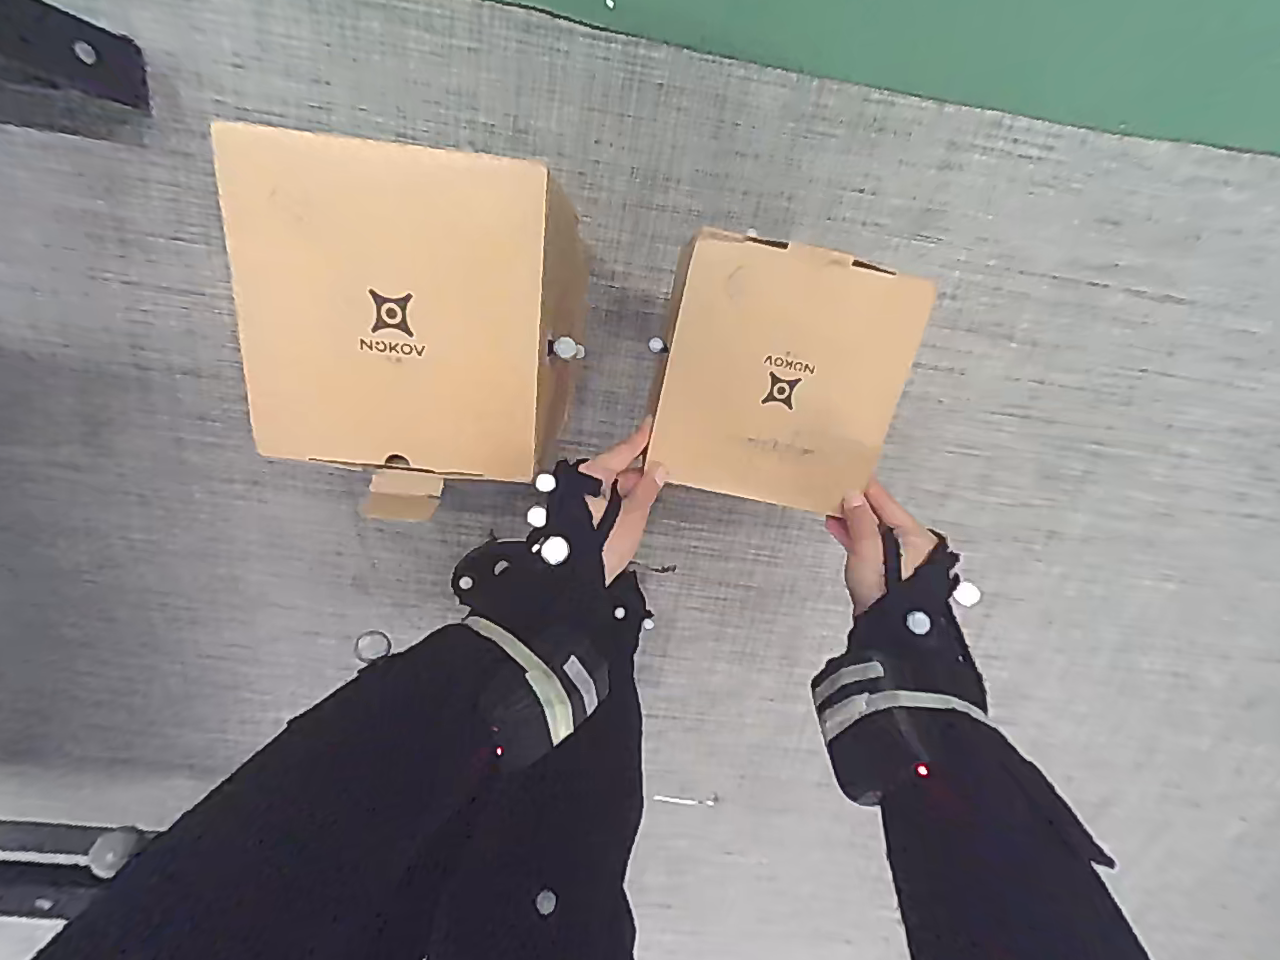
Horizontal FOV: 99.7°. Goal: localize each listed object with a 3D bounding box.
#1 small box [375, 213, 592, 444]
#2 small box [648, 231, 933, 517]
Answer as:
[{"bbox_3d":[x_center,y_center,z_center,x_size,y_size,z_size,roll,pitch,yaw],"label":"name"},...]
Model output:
[{"bbox_3d":[-0.141,-0.151,0.537,0.168,0.176,0.179,7,110,-3],"label":"small box"},{"bbox_3d":[0.102,-0.092,0.459,0.168,0.176,0.179,12,109,-3],"label":"small box"}]
